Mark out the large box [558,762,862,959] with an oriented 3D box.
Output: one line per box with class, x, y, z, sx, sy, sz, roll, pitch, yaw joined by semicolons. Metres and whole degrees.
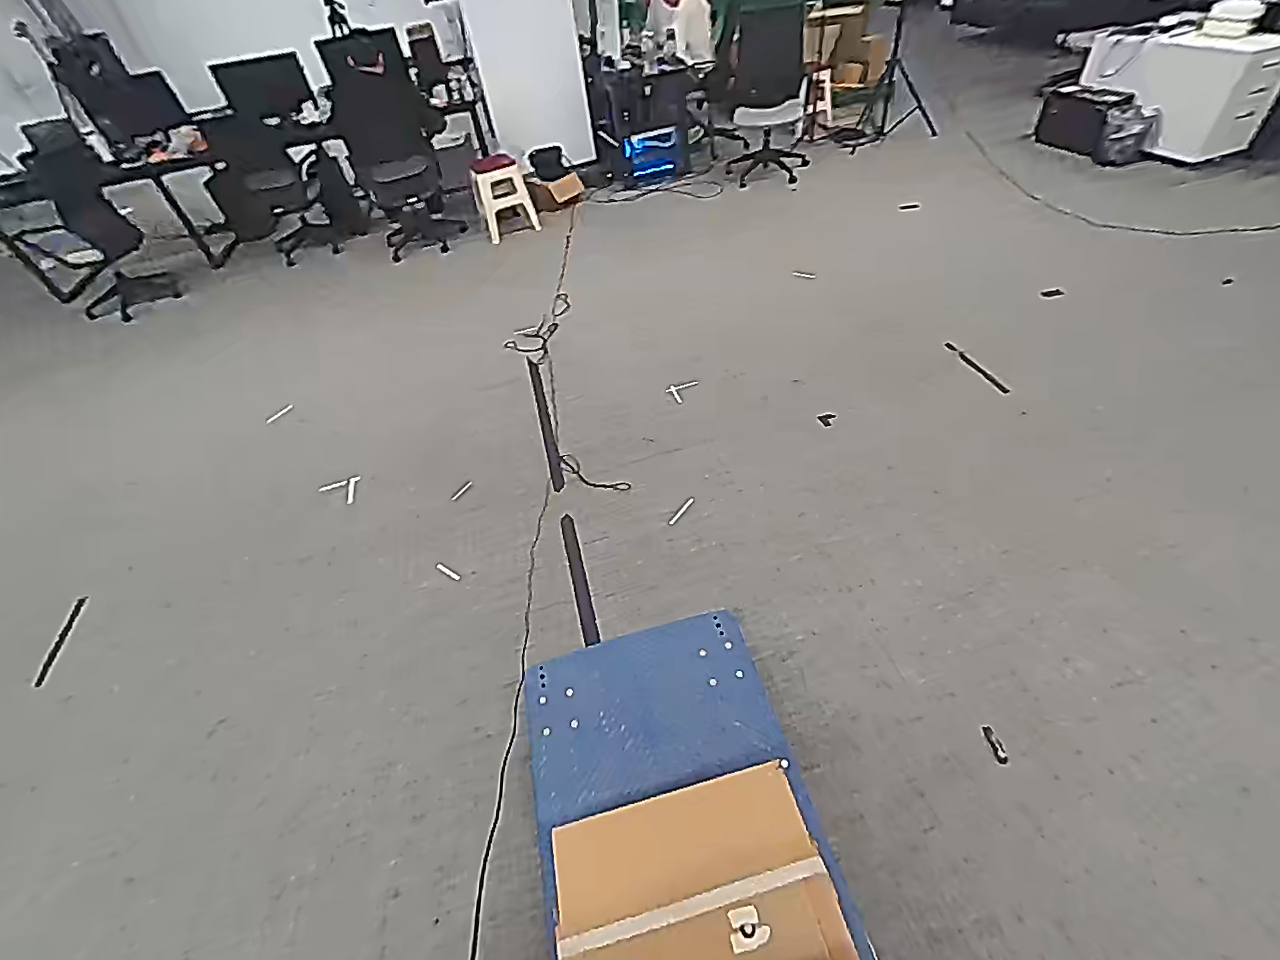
large box;0.105;0.746;0.916;0.408;0.320;0.320;-14;45;-5
